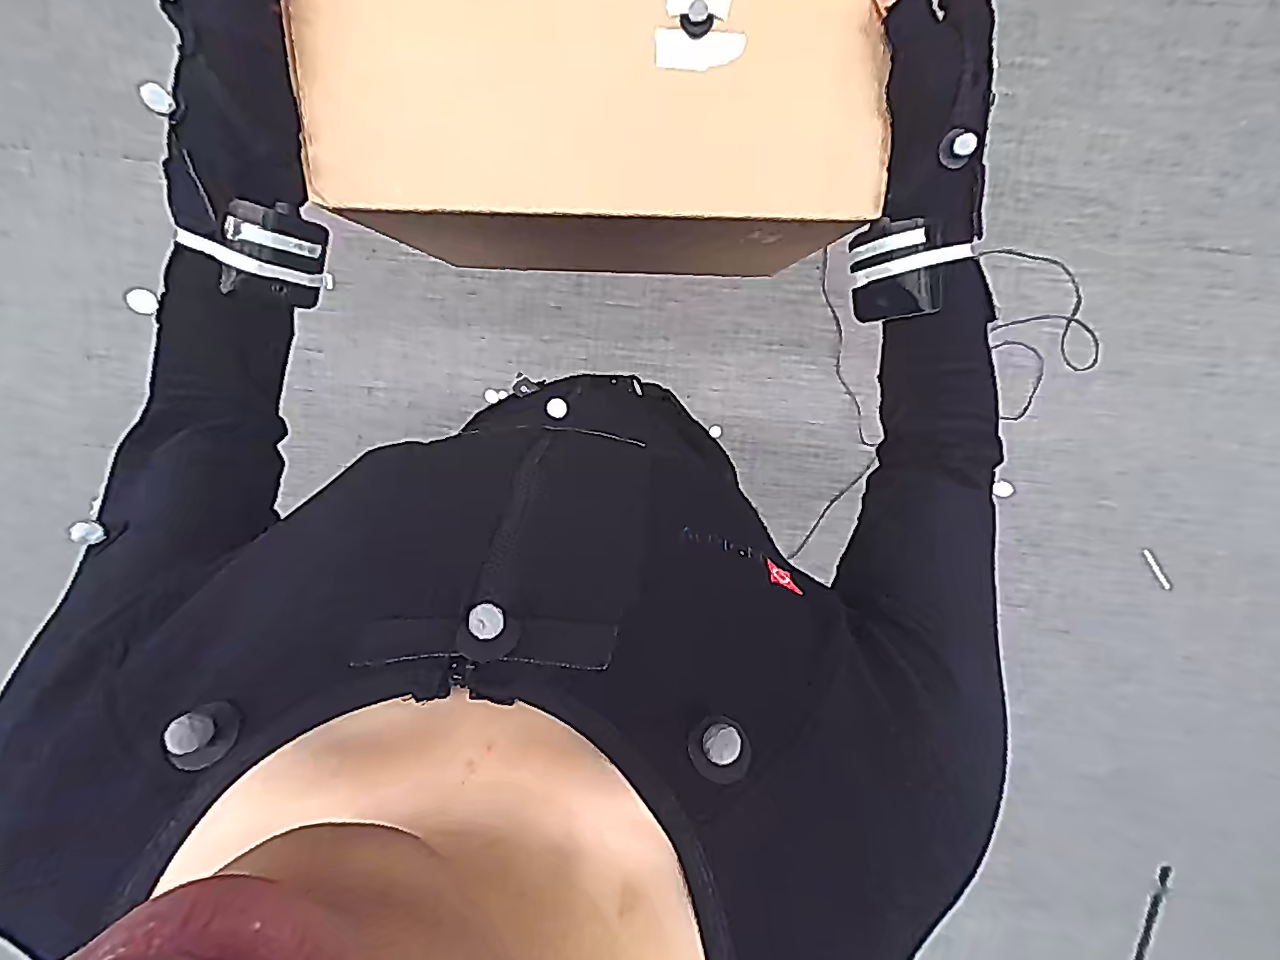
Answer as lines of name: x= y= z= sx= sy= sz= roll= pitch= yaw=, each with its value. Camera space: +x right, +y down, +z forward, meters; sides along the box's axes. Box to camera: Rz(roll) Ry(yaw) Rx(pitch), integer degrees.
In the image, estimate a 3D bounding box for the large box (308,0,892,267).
large box: x=-0.028 y=-0.386 z=0.505 sx=0.408 sy=0.320 sz=0.320 roll=1 pitch=104 yaw=-1
